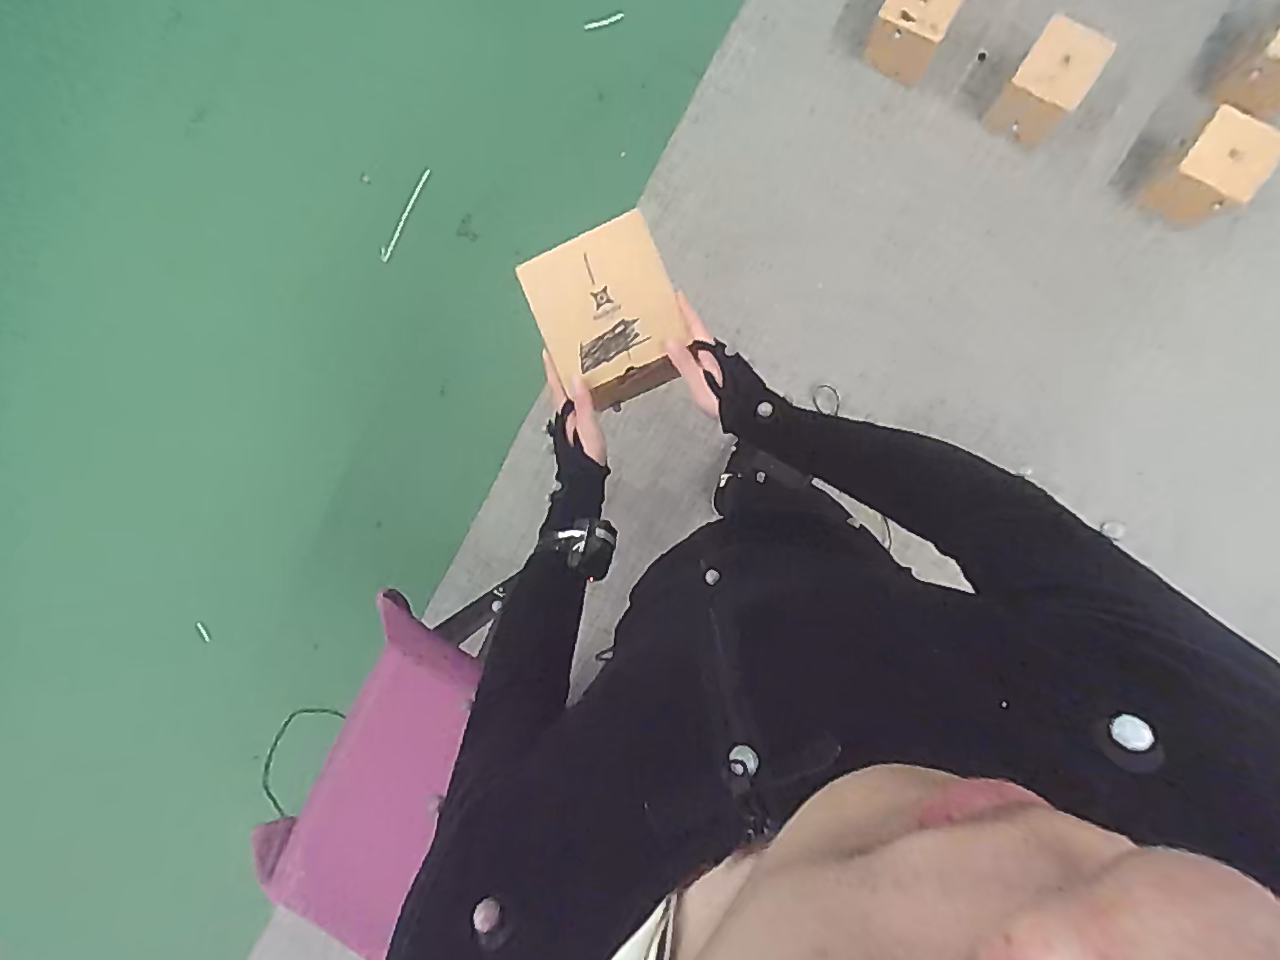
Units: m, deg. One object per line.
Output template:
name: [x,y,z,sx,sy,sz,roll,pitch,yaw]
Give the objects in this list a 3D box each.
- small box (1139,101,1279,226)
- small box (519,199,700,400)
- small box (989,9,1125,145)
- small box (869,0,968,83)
small box: [1.374,-0.745,1.293,0.179,0.176,0.168,32,98,5]
small box: [-0.026,-0.212,0.697,0.168,0.176,0.179,-22,88,7]
small box: [1.011,-0.981,1.332,0.168,0.176,0.179,32,98,6]
small box: [0.708,-1.168,1.366,0.168,0.176,0.179,31,96,6]
